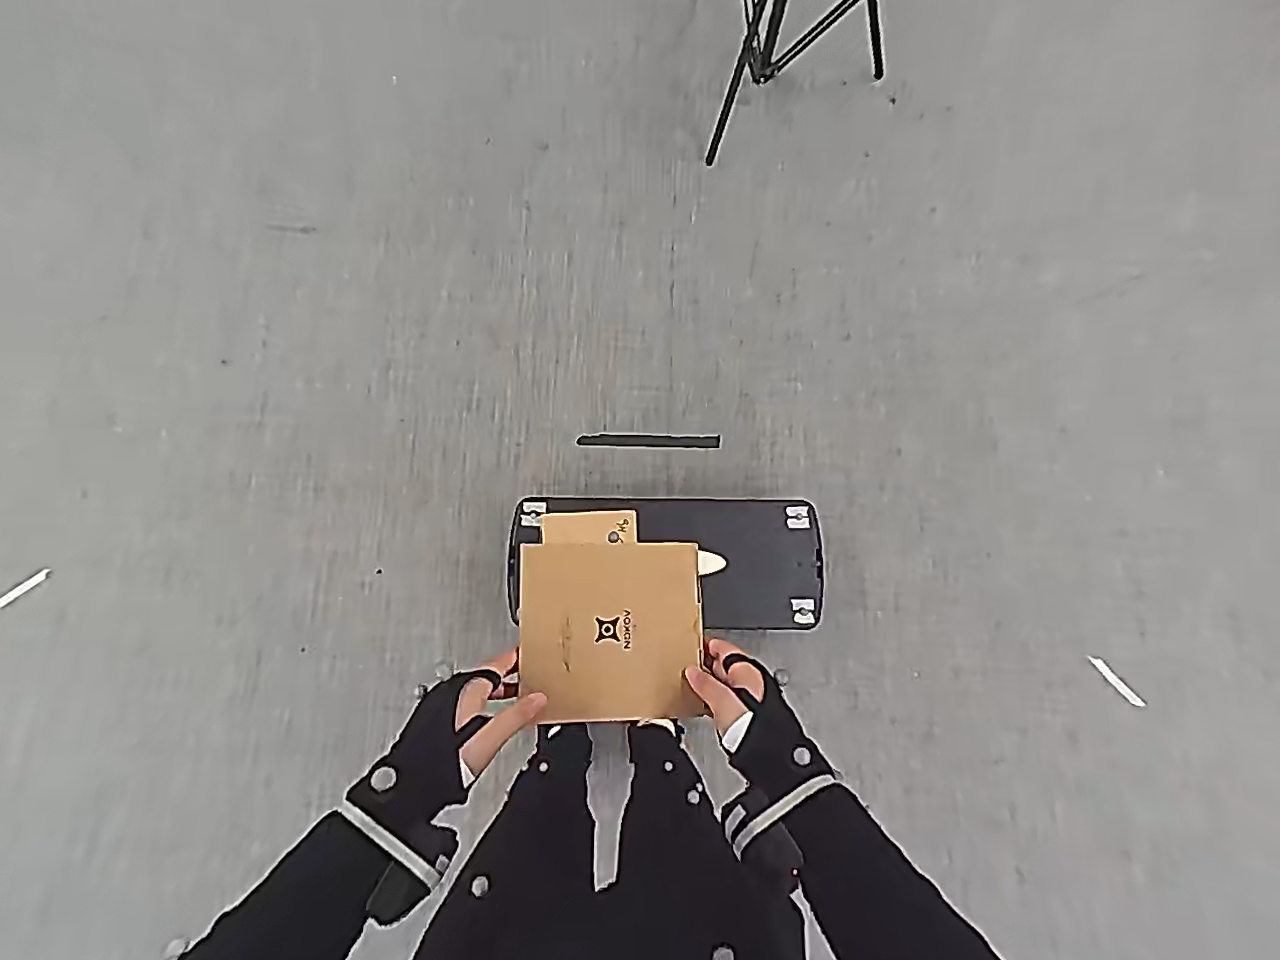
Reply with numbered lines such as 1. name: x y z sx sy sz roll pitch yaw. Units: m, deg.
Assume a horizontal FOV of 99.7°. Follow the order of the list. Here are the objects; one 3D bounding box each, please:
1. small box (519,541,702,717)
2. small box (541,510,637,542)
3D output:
1. small box: -0.035 0.157 0.603 0.179 0.176 0.168 -1 78 -5
2. small box: -0.093 0.152 1.057 0.179 0.176 0.168 -2 80 -1
